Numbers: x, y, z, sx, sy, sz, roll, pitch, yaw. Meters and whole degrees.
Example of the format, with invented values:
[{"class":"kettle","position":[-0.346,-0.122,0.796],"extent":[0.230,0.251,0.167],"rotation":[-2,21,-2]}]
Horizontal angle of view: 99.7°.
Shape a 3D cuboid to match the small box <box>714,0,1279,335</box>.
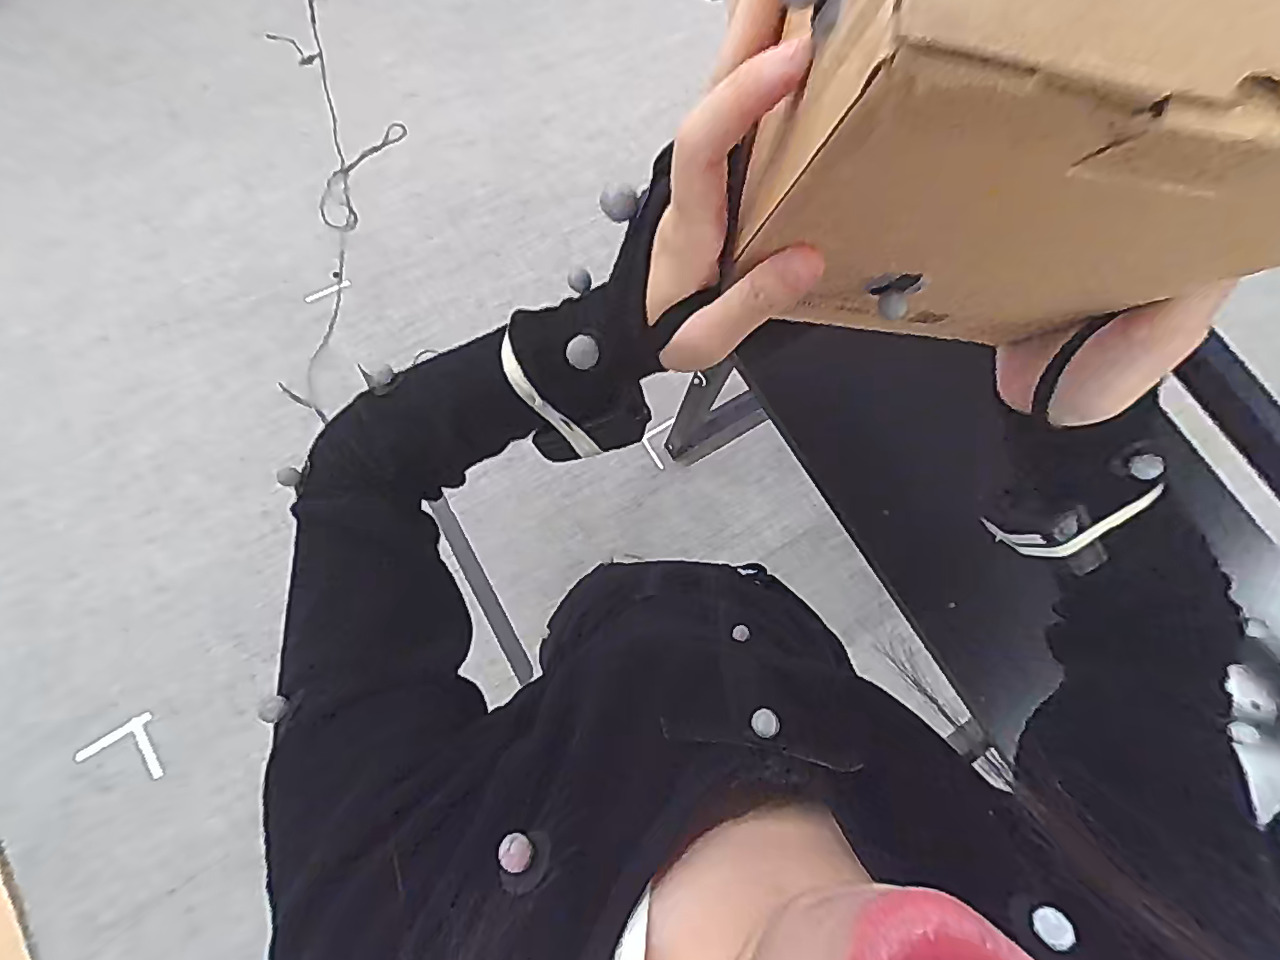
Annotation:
[{"class":"small box","position":[0.128,-0.163,0.184],"extent":[0.168,0.176,0.179],"rotation":[4,92,-6]}]
